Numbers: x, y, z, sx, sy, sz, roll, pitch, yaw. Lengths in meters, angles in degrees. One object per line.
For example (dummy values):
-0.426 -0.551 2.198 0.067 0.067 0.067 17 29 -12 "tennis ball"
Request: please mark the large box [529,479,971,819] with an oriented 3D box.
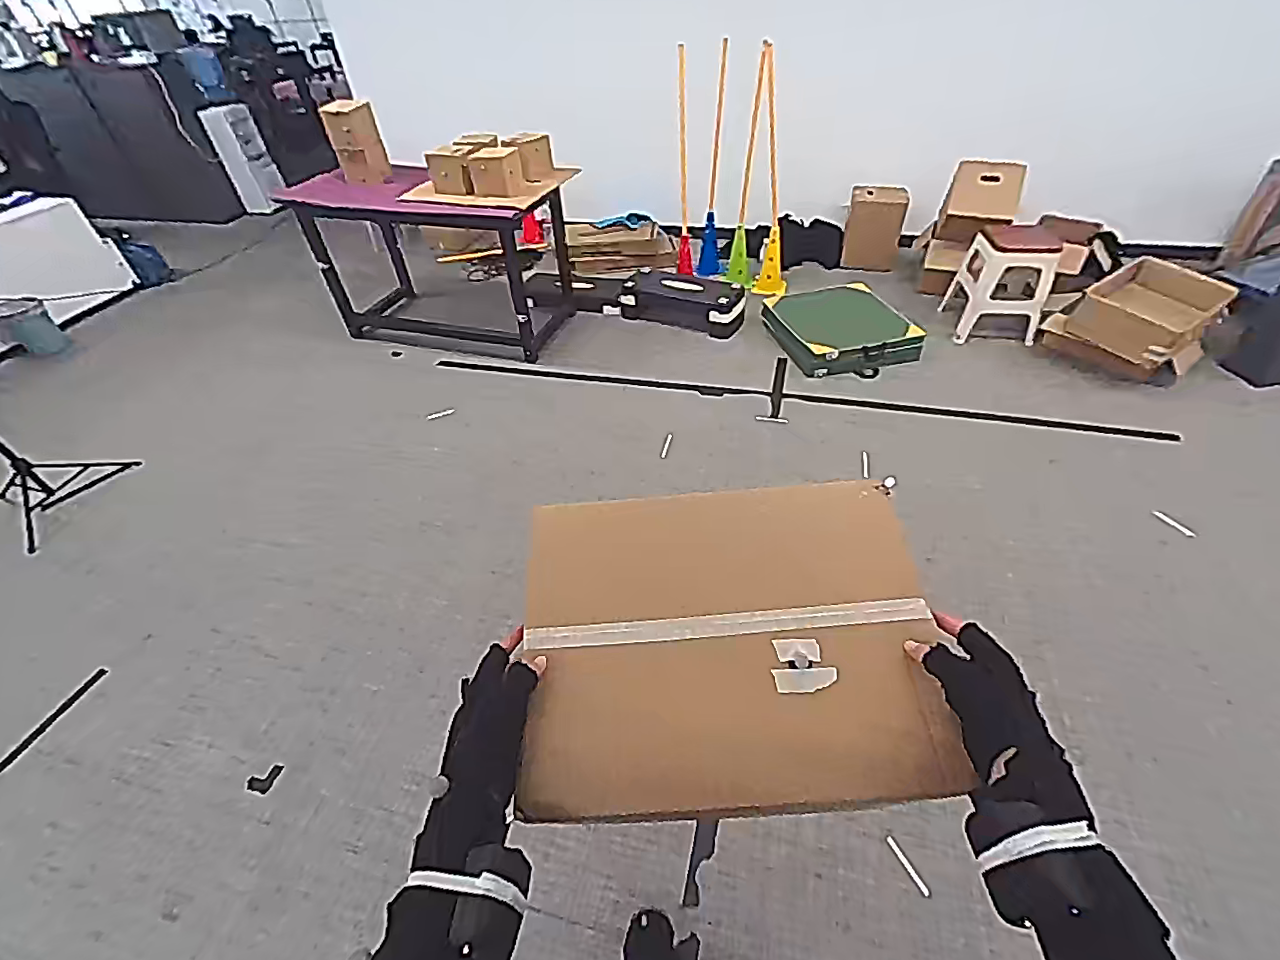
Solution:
0.095 0.226 0.683 0.408 0.320 0.320 -5 57 1 "large box"
